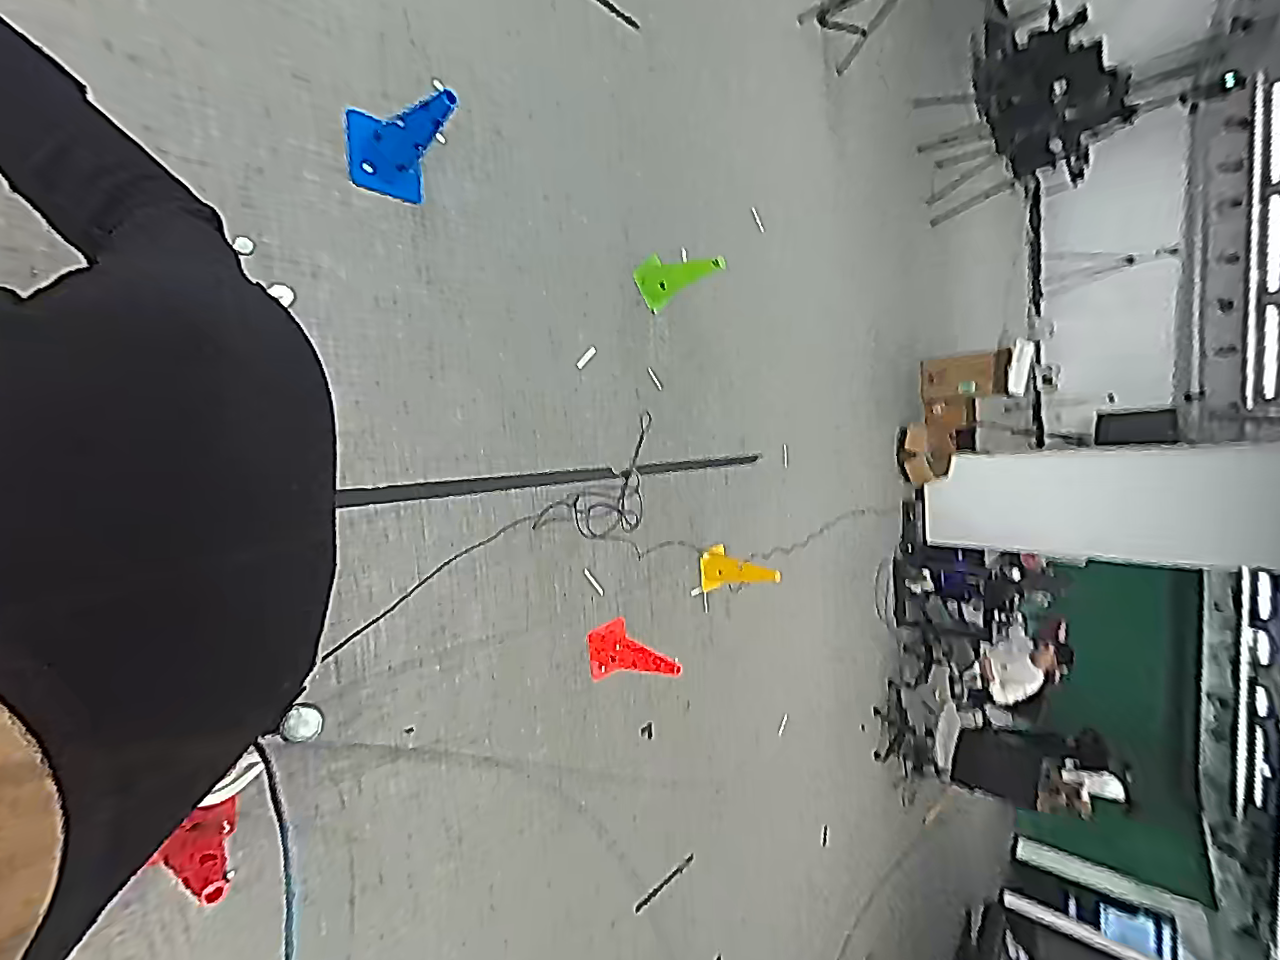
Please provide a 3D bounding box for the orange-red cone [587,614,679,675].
[{"bbox_3d":[-0.004,0.648,2.018,0.199,0.360,0.198,-12,100,-49],"label":"orange-red cone"}]

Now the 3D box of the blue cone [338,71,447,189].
[{"bbox_3d":[-0.597,-0.911,1.370,0.193,0.380,0.192,-4,92,-48],"label":"blue cone"}]

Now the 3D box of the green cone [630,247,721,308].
[{"bbox_3d":[0.174,-0.869,2.197,0.200,0.368,0.202,-55,126,-33],"label":"green cone"}]

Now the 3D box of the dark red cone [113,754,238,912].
[{"bbox_3d":[-0.857,0.705,1.038,0.202,0.394,0.201,0,89,-48],"label":"dark red cone"}]
